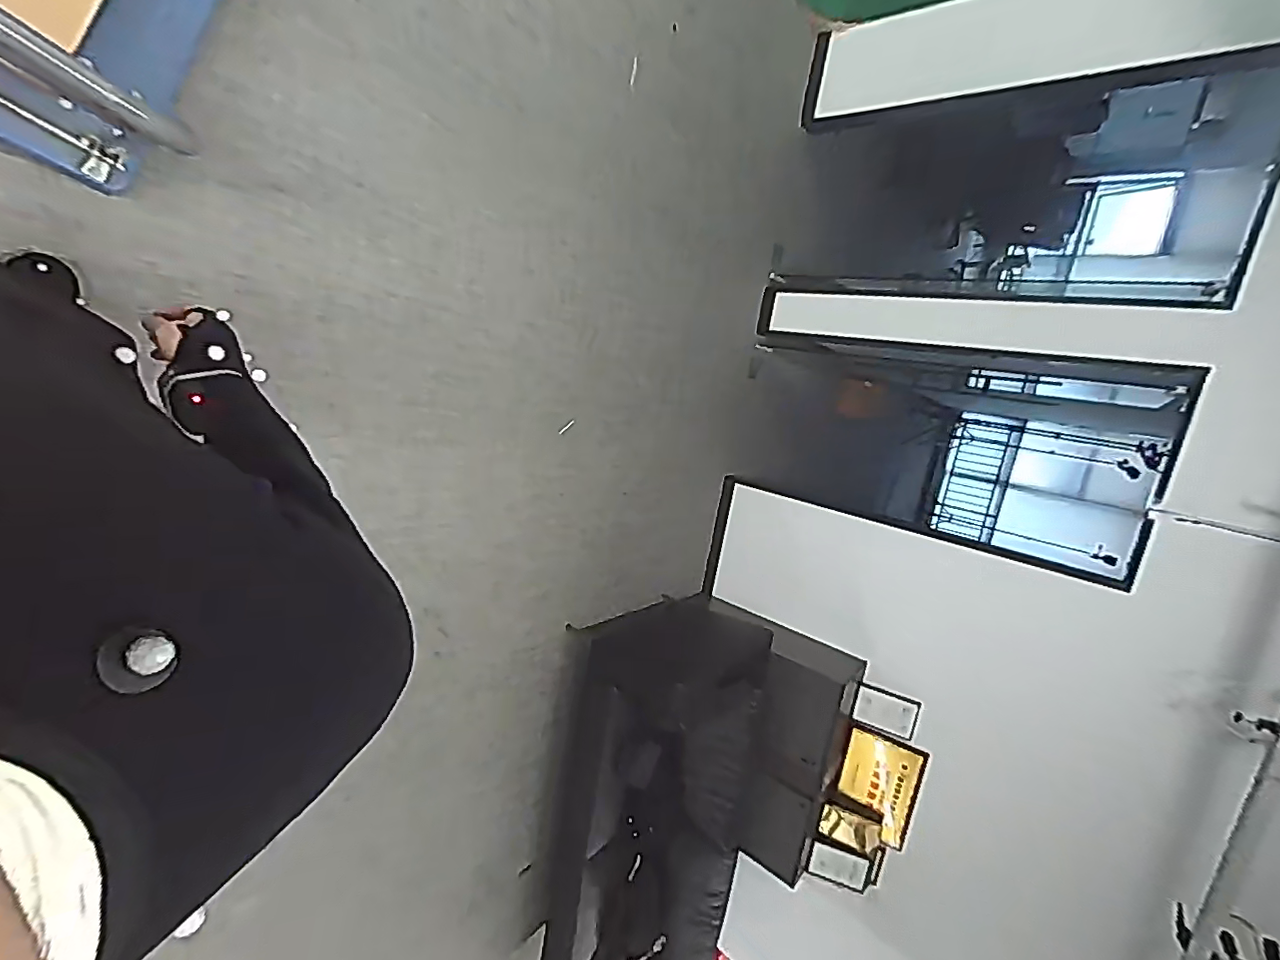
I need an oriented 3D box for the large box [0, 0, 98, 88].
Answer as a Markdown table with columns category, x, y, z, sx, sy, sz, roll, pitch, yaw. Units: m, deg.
| category | x | y | z | sx | sy | sz | roll | pitch | yaw |
| --- | --- | --- | --- | --- | --- | --- | --- | --- | --- |
| large box | -0.926 | -0.858 | 0.734 | 0.320 | 0.320 | 0.408 | 27 | 81 | -54 |
